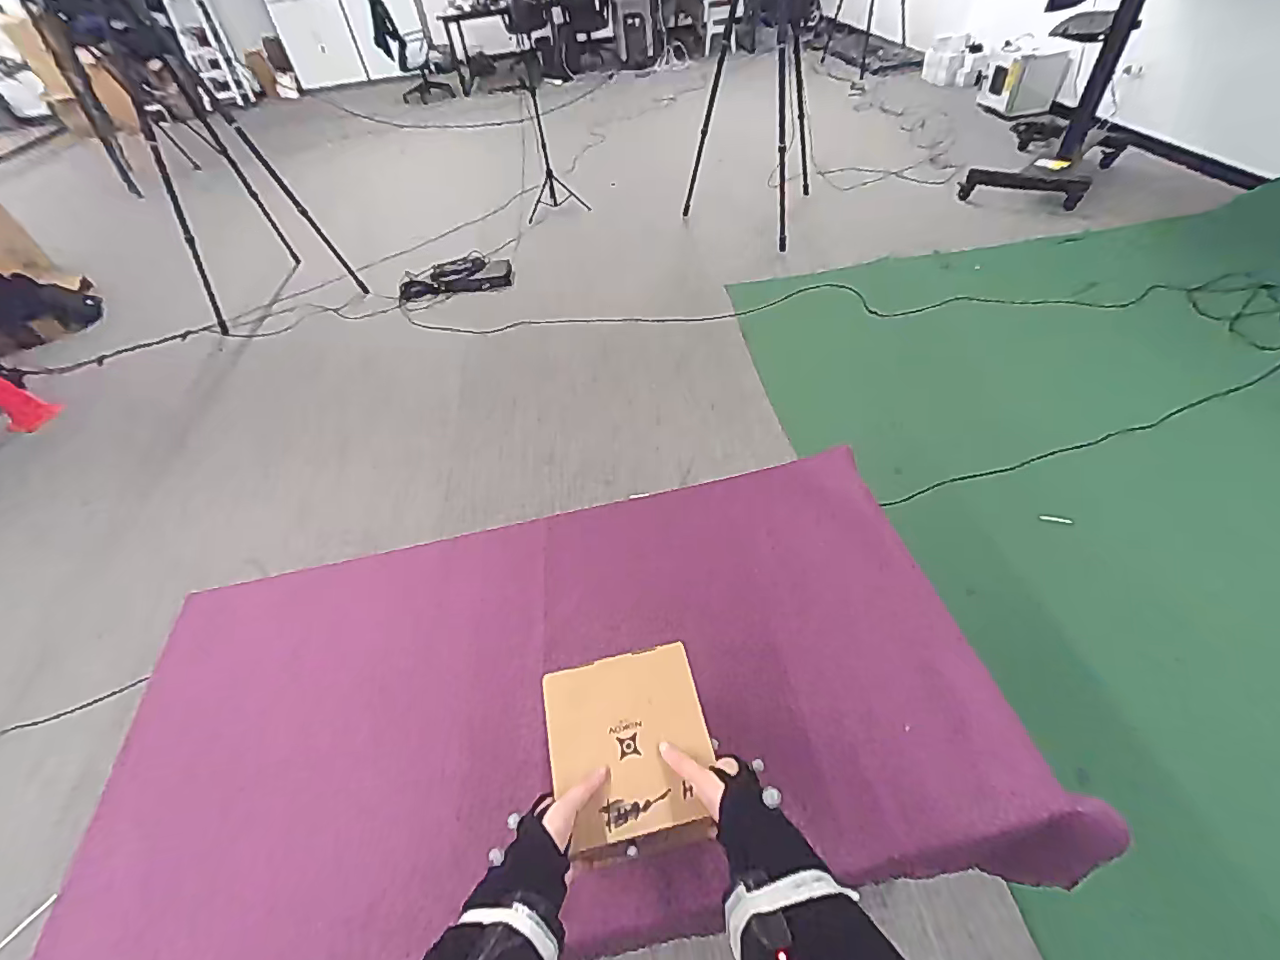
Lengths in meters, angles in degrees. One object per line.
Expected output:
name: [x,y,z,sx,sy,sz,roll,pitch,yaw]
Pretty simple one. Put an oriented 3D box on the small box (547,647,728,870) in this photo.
small box: [-0.004,0.322,0.623,0.168,0.176,0.179,-13,51,-3]
